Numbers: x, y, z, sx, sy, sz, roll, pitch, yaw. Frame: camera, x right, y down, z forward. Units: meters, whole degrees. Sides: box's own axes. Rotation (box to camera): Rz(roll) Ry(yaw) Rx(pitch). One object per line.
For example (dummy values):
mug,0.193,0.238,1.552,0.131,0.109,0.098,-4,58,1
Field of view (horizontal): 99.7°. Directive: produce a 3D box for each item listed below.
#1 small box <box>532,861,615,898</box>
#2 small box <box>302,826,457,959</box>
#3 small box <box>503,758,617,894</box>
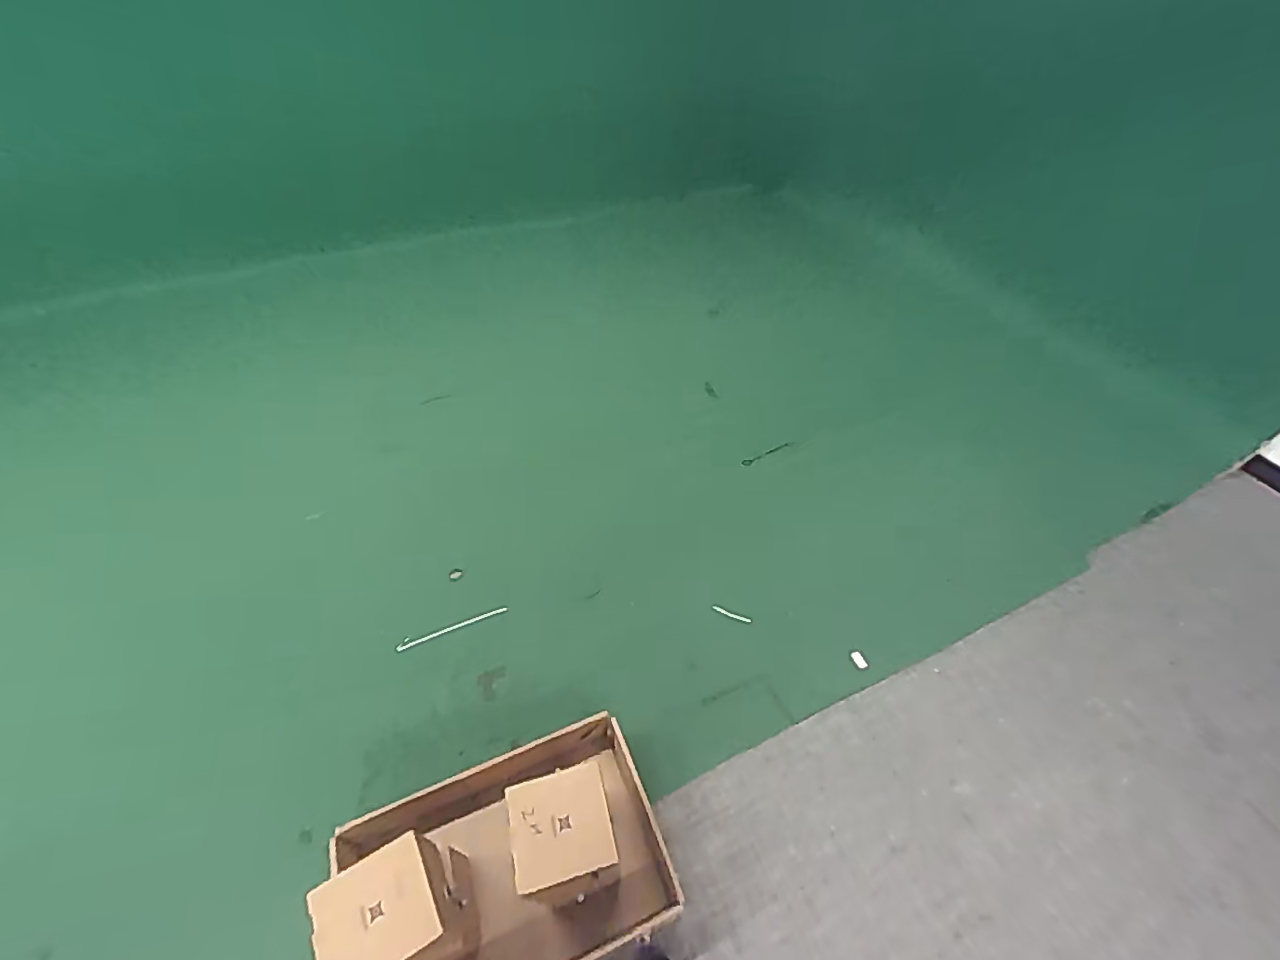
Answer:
small box,-0.154,0.746,1.134,0.168,0.176,0.179,-12,53,-12
small box,-0.432,0.732,0.915,0.179,0.176,0.168,-23,55,-23
small box,-0.147,0.644,1.005,0.179,0.176,0.168,-12,51,-11
